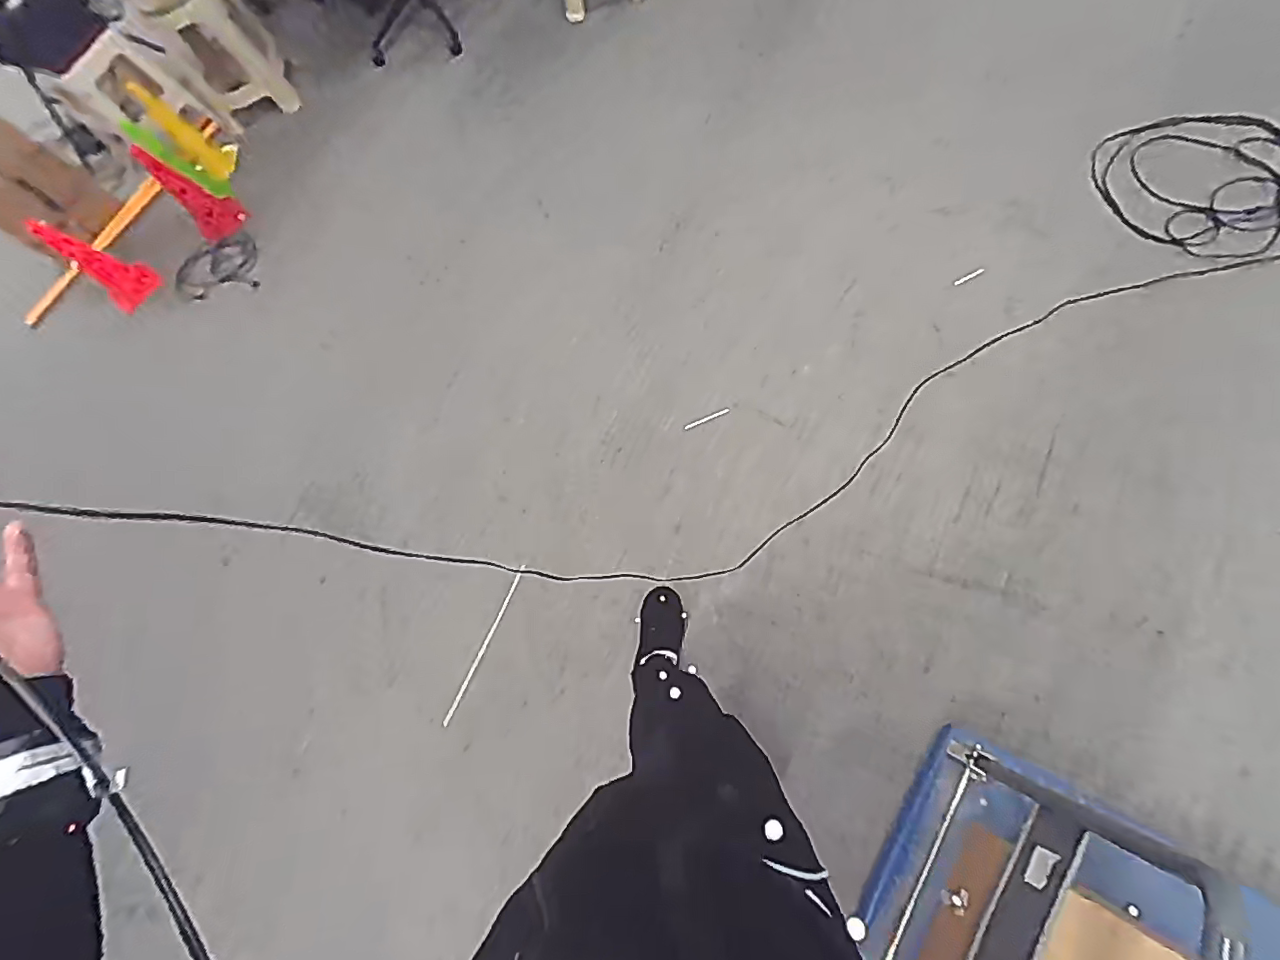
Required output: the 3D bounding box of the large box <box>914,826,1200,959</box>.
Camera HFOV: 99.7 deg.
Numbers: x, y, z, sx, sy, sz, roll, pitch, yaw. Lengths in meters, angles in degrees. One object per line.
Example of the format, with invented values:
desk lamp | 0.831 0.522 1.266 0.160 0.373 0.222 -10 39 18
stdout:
large box | 0.721 0.849 0.856 0.408 0.320 0.320 27 80 17
